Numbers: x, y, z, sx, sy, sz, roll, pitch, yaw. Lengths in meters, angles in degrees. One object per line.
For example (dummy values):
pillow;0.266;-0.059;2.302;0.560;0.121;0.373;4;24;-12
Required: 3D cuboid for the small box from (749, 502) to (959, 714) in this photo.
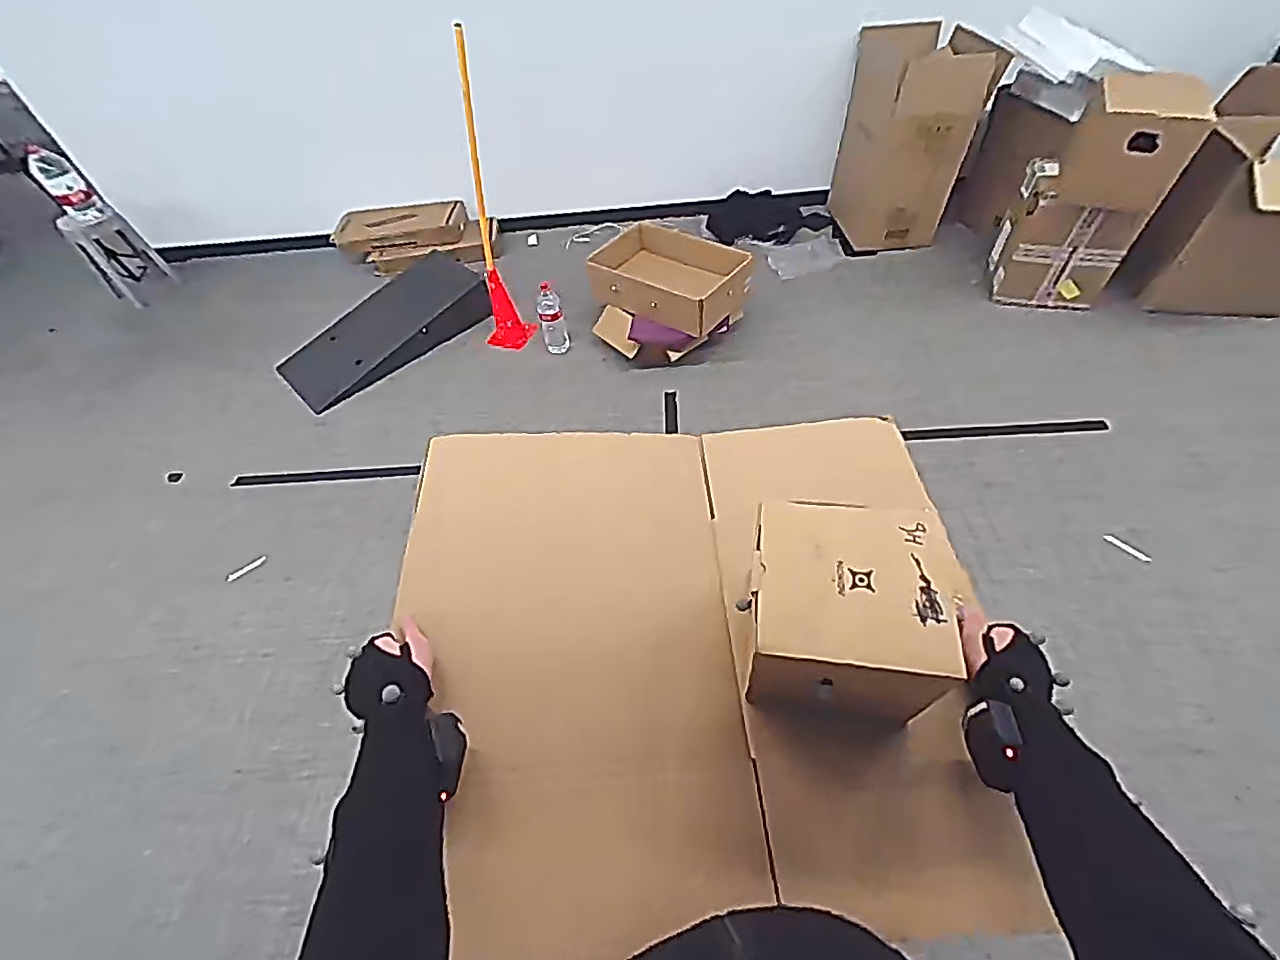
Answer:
small box;0.210;0.140;0.582;0.179;0.176;0.168;3;56;11
